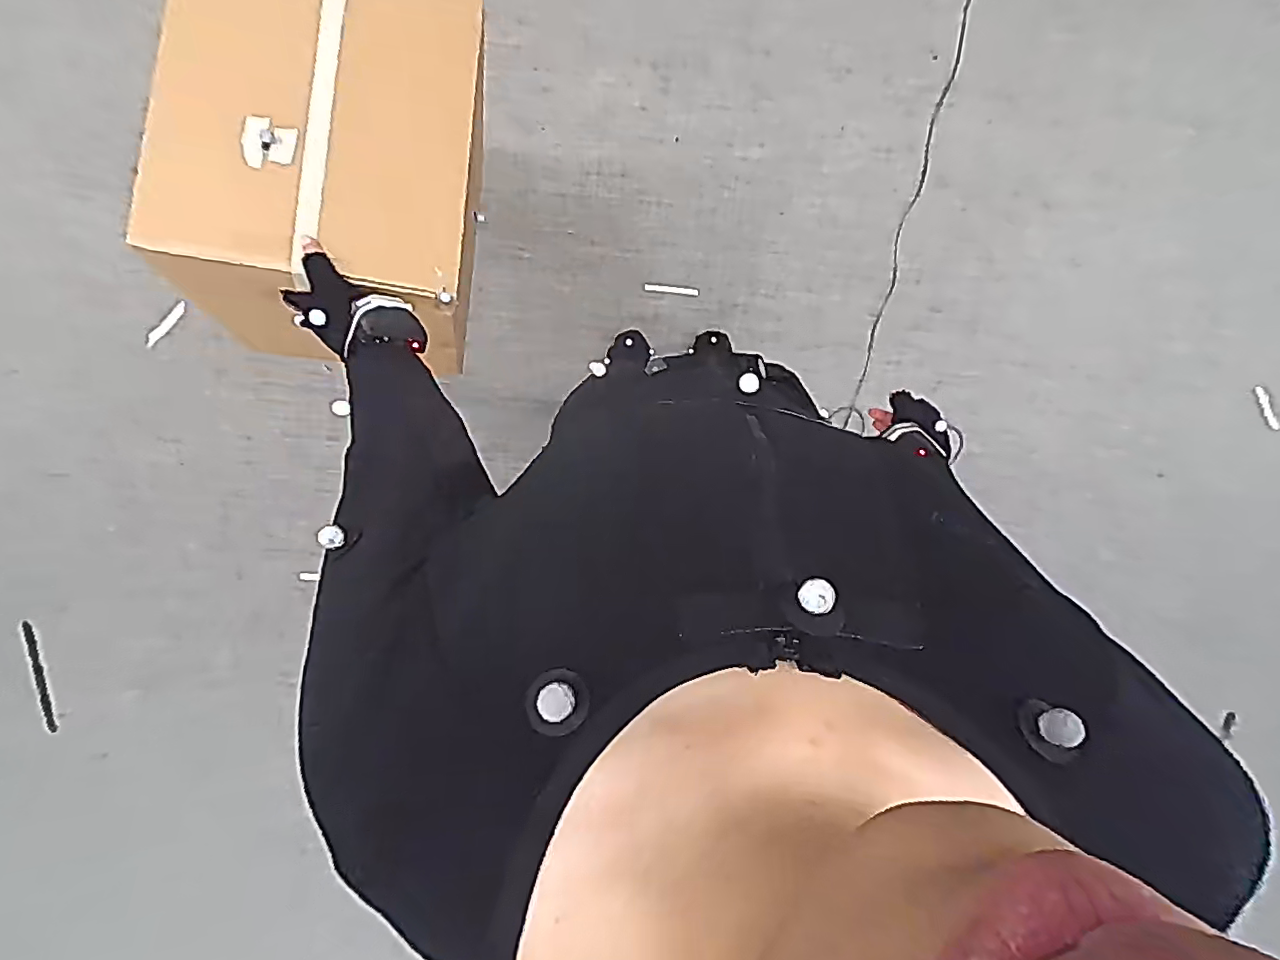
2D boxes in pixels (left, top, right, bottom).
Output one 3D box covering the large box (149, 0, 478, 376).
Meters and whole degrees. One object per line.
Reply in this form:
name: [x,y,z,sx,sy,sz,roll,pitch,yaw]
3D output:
large box: [-0.403,-0.398,0.764,0.320,0.320,0.408,4,83,-16]
